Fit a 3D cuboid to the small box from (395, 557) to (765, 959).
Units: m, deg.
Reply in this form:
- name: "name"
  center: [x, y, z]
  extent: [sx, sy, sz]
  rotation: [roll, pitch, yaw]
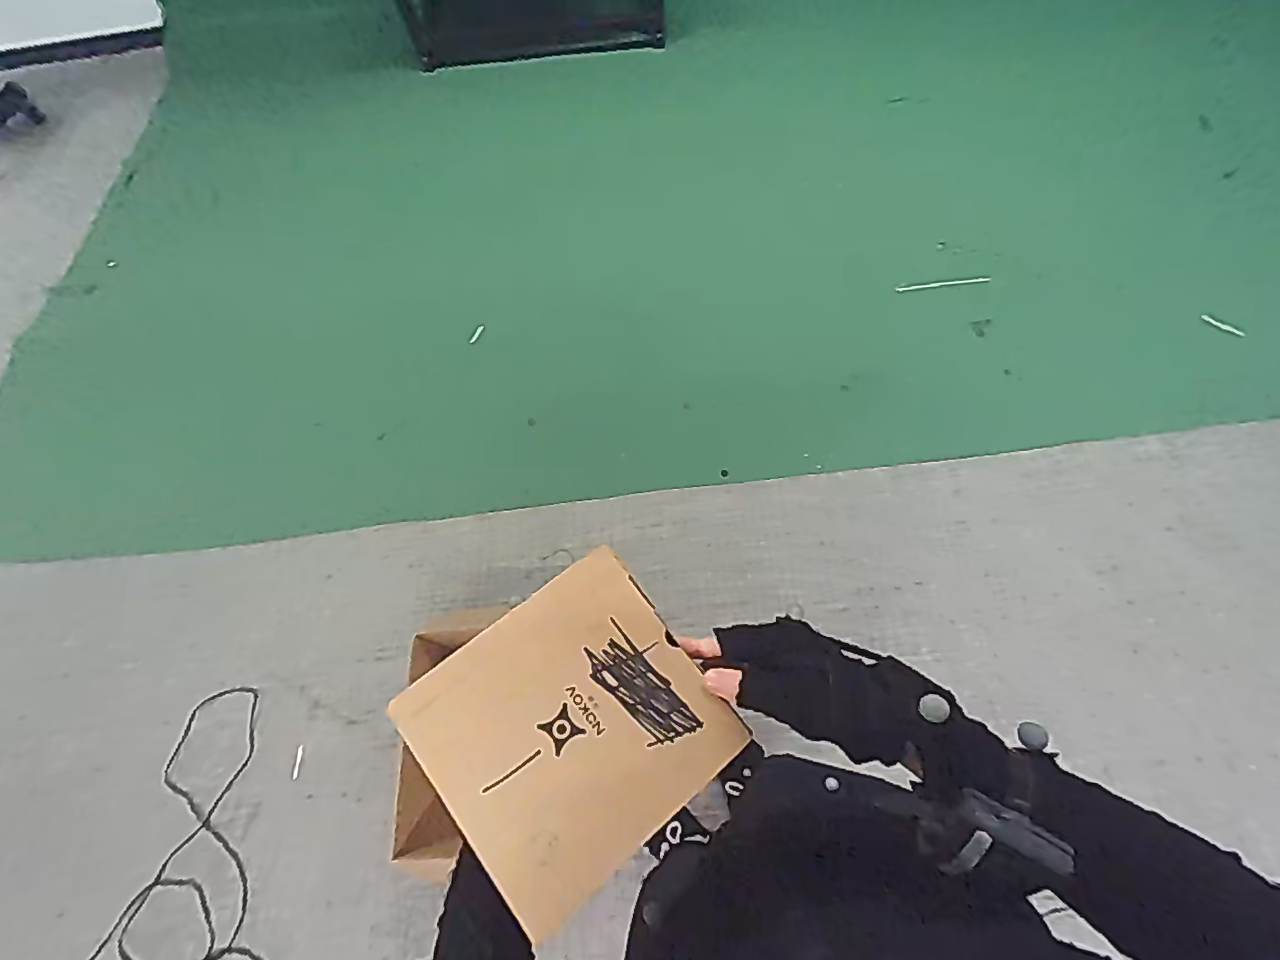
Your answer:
- name: "small box"
  center: [-0.043, 0.184, 0.410]
  extent: [0.179, 0.176, 0.168]
  rotation: [-36, 78, -15]
